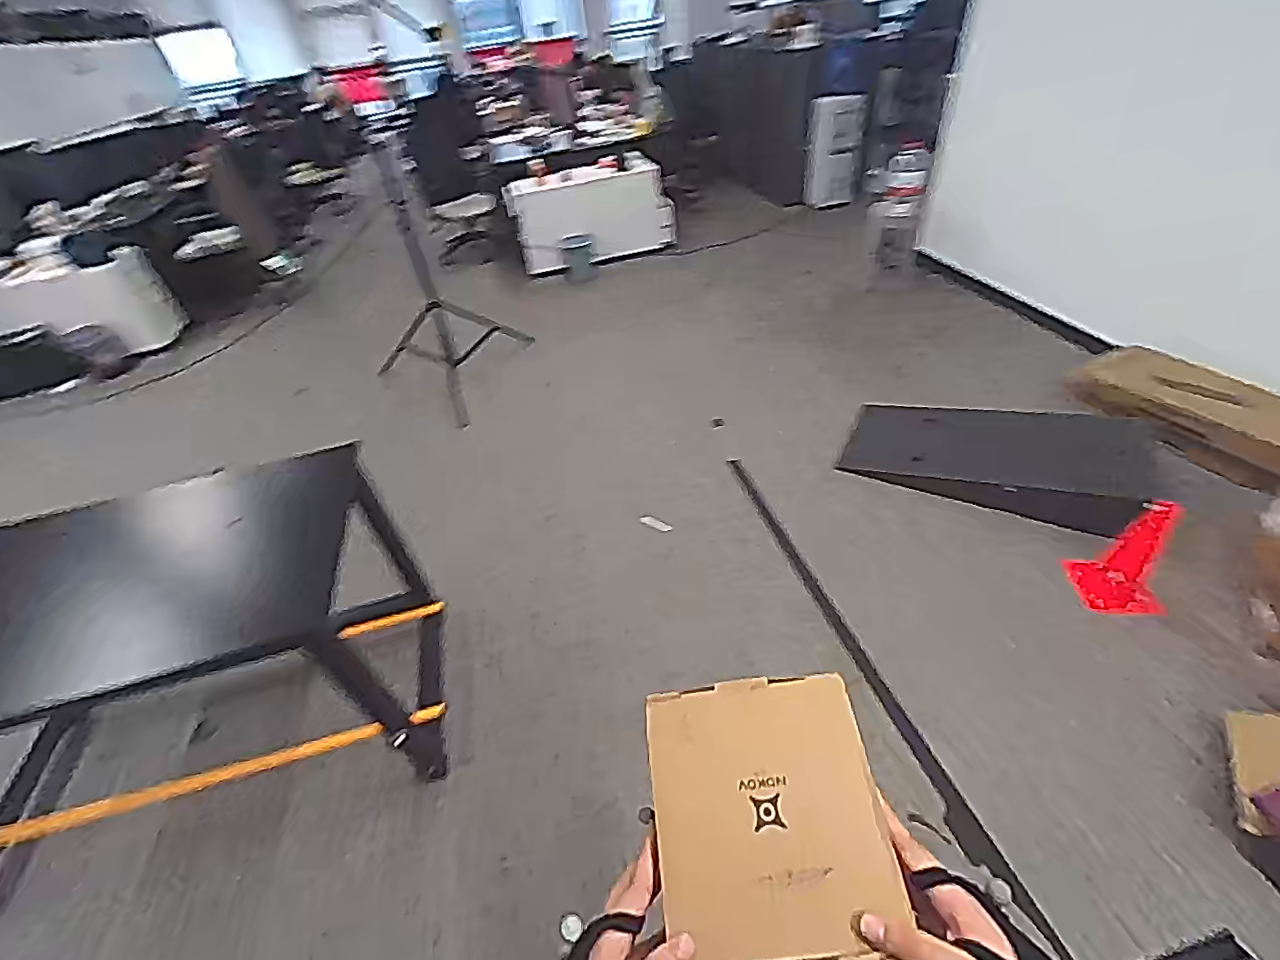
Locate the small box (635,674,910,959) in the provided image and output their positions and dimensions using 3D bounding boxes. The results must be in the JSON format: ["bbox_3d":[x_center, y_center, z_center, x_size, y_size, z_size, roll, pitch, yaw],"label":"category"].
[{"bbox_3d":[0.088,0.282,0.455,0.168,0.176,0.179,-8,56,0],"label":"small box"}]
